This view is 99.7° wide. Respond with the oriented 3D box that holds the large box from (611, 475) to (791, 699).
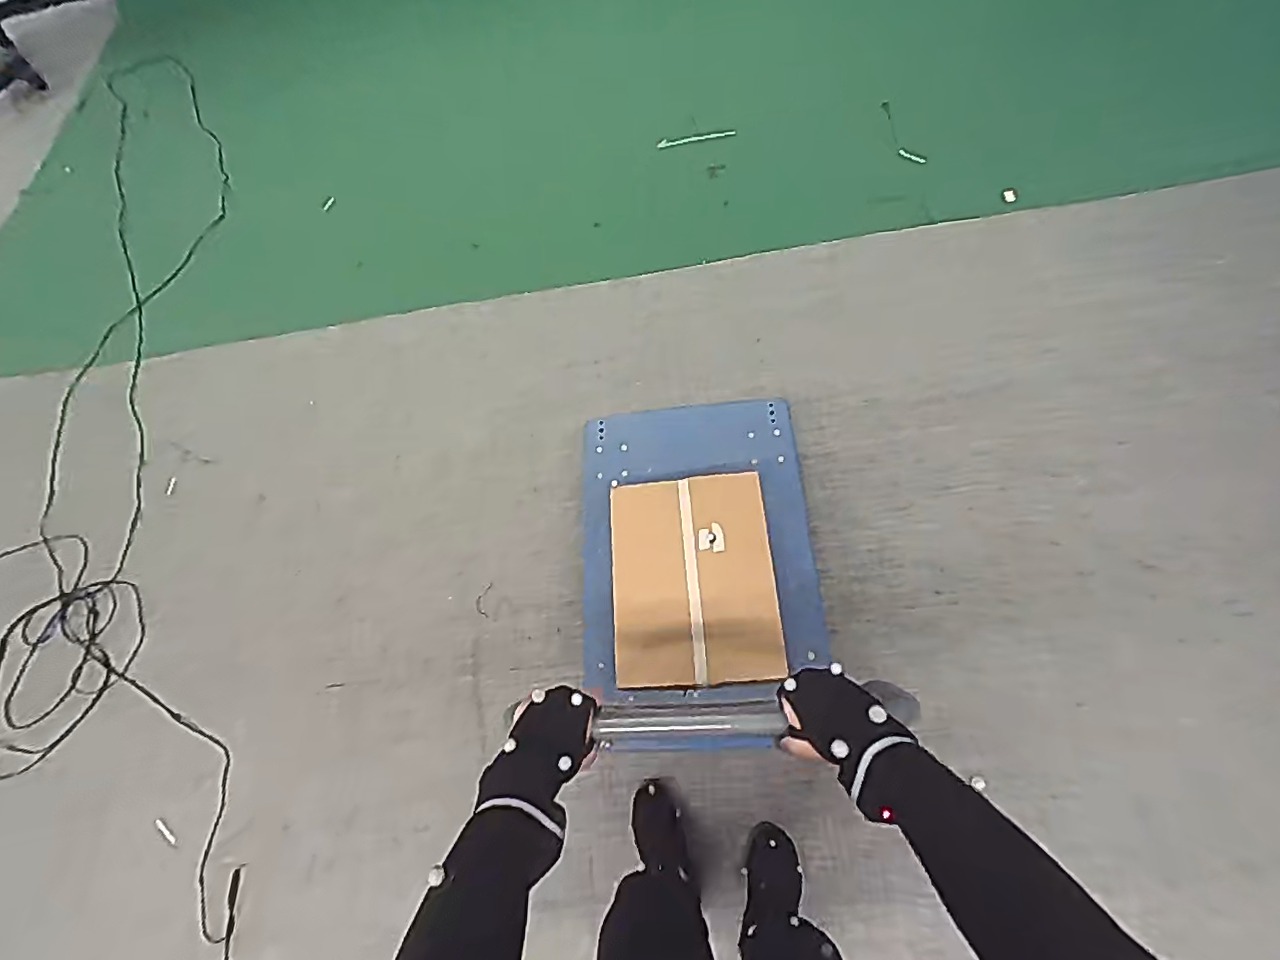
[{"bbox_3d":[0.127,0.249,1.185,0.320,0.320,0.408,-7,65,6],"label":"large box"}]
